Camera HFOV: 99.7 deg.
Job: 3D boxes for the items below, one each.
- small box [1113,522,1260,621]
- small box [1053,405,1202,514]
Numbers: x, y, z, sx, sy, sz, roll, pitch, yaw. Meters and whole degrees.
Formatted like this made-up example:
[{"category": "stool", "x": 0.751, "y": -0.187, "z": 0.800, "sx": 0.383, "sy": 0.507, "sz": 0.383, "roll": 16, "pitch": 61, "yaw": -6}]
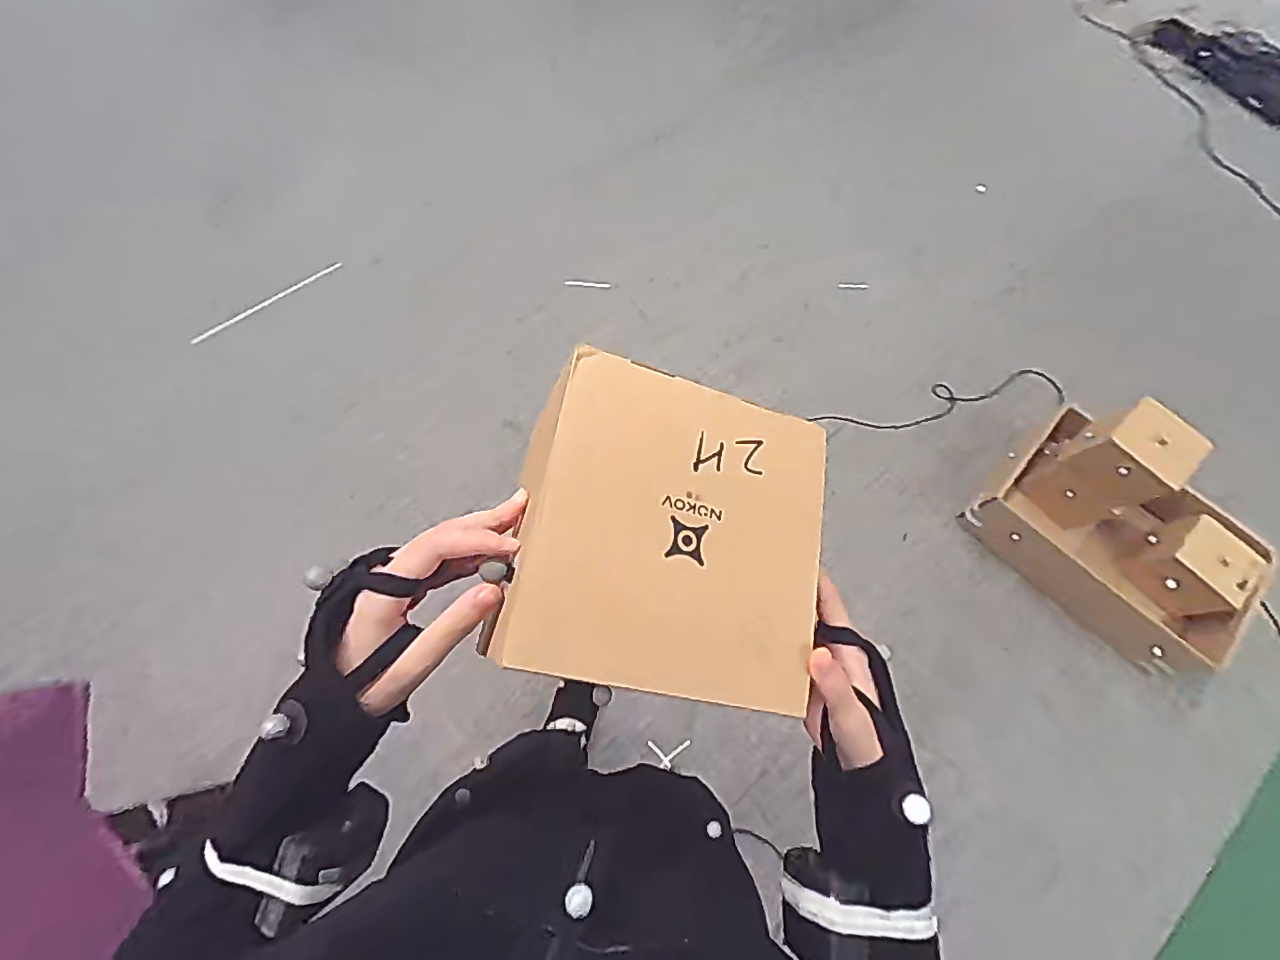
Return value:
[{"category": "small box", "x": 1.390, "y": 0.242, "z": 1.390, "sx": 0.168, "sy": 0.176, "sz": 0.179, "roll": -39, "pitch": 76, "yaw": -15}, {"category": "small box", "x": 1.165, "y": -0.043, "z": 1.309, "sx": 0.168, "sy": 0.176, "sz": 0.179, "roll": -40, "pitch": 78, "yaw": -14}]
